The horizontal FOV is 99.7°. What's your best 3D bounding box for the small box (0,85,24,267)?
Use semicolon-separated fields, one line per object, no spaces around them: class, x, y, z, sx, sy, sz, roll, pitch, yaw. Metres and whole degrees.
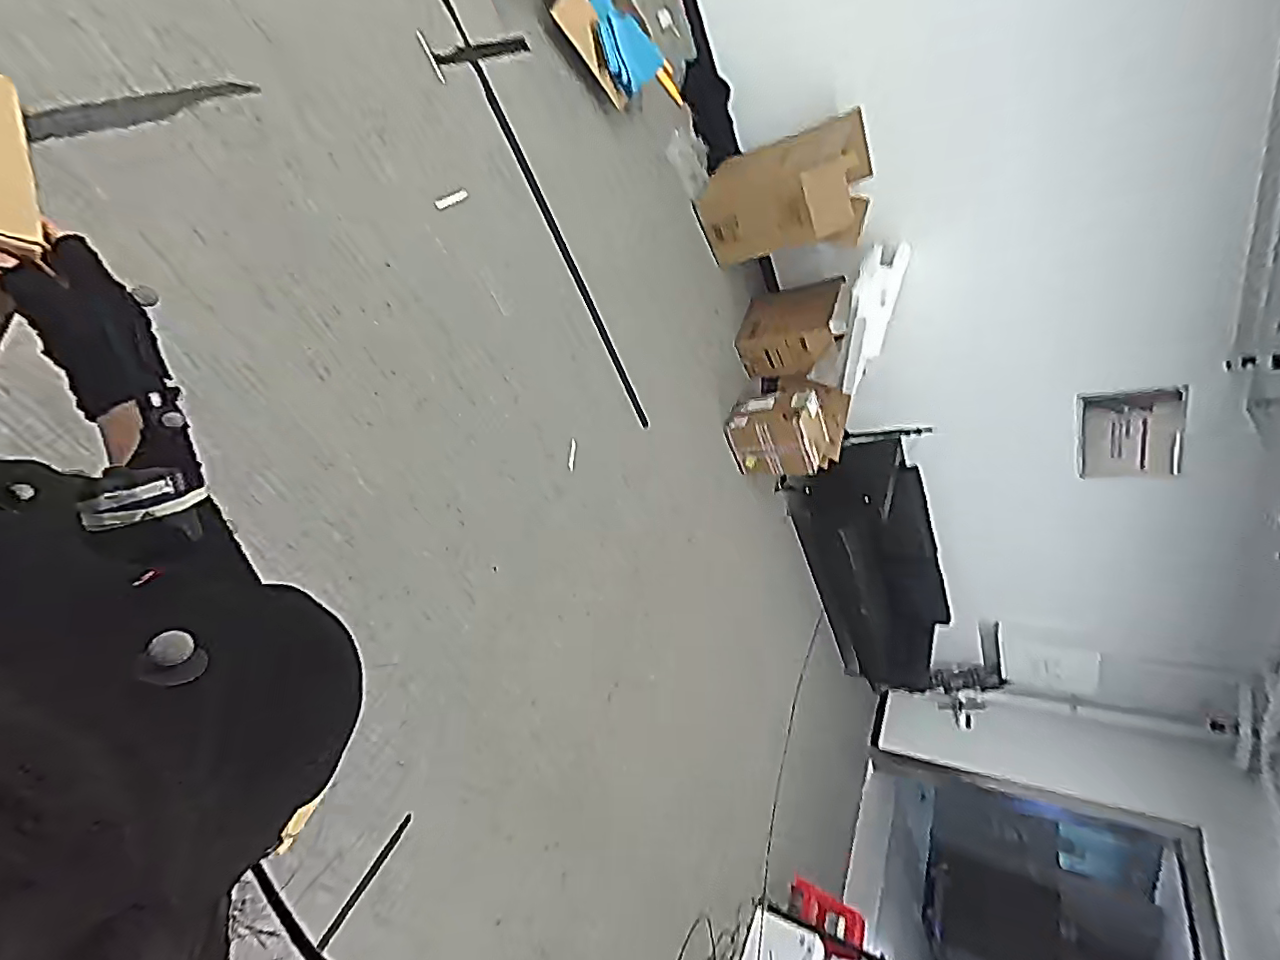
small box;-0.553;-0.201;0.348;0.168;0.176;0.179;4;56;-63
